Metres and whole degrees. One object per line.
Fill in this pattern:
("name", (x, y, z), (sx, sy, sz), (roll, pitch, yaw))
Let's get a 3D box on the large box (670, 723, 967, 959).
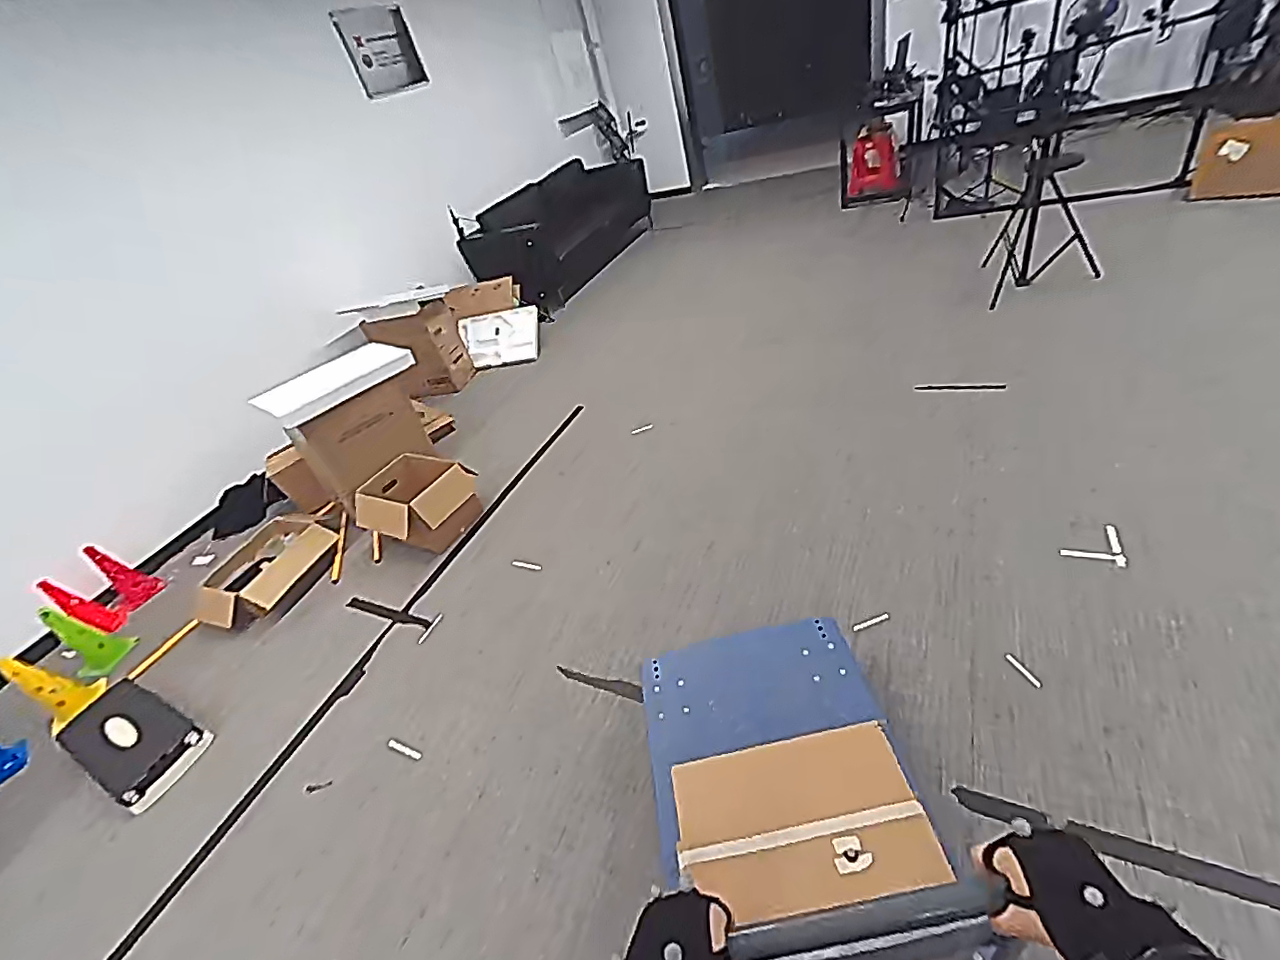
("large box", (0.297, 0.711, 0.991), (0.408, 0.320, 0.320), (-14, 37, 3))
